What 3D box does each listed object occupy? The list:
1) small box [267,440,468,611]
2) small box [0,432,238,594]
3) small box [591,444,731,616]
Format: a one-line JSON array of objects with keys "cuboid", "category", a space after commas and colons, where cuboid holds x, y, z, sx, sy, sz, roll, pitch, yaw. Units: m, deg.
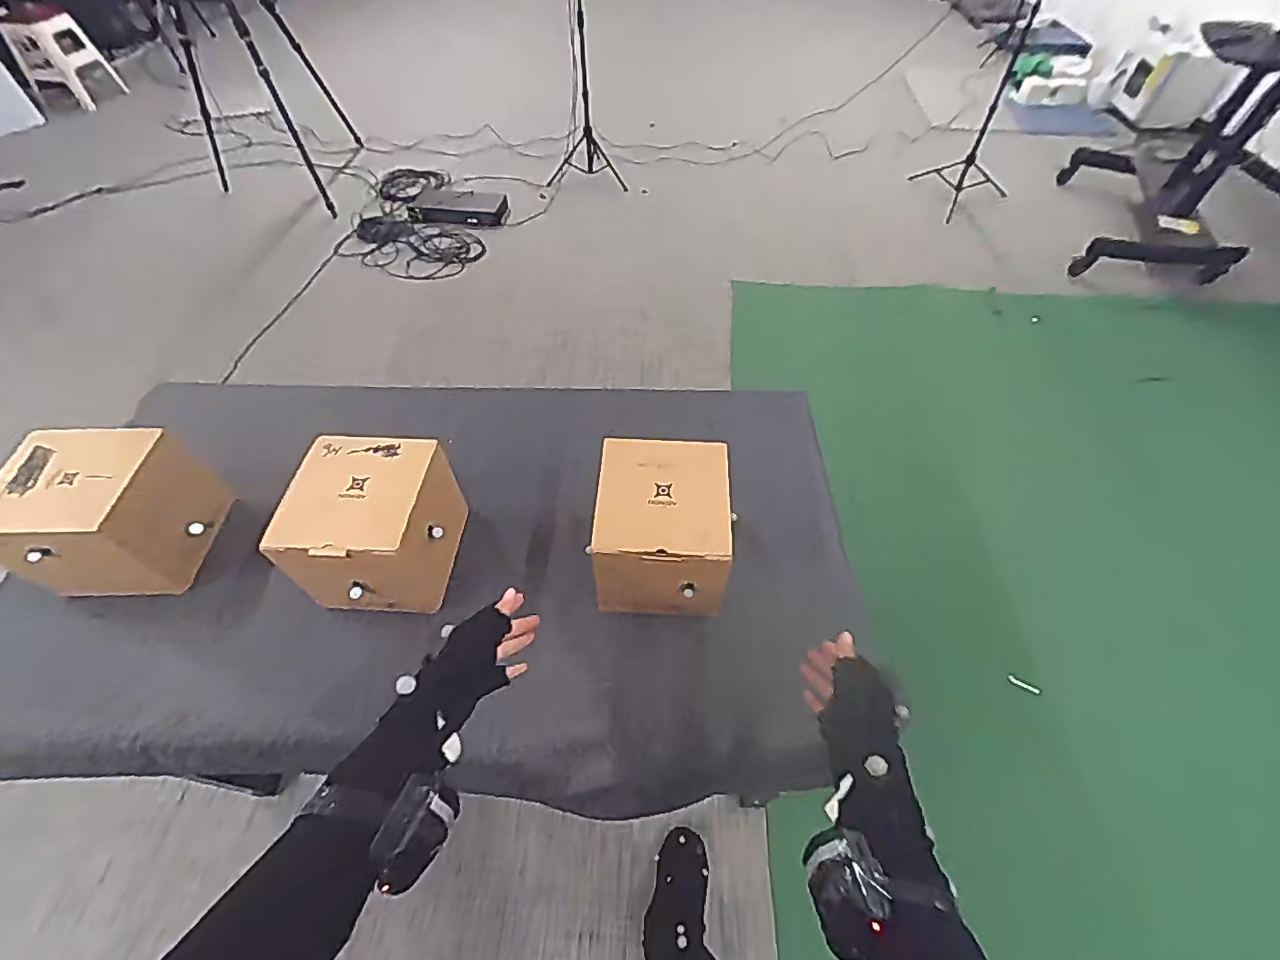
[{"cuboid": [-0.350, 0.066, 0.740, 0.168, 0.176, 0.179, 2, 53, 2], "category": "small box"}, {"cuboid": [-0.720, 0.050, 0.749, 0.179, 0.176, 0.168, 0, 53, -2], "category": "small box"}, {"cuboid": [0.029, 0.072, 0.738, 0.168, 0.176, 0.179, 2, 51, 1], "category": "small box"}]
